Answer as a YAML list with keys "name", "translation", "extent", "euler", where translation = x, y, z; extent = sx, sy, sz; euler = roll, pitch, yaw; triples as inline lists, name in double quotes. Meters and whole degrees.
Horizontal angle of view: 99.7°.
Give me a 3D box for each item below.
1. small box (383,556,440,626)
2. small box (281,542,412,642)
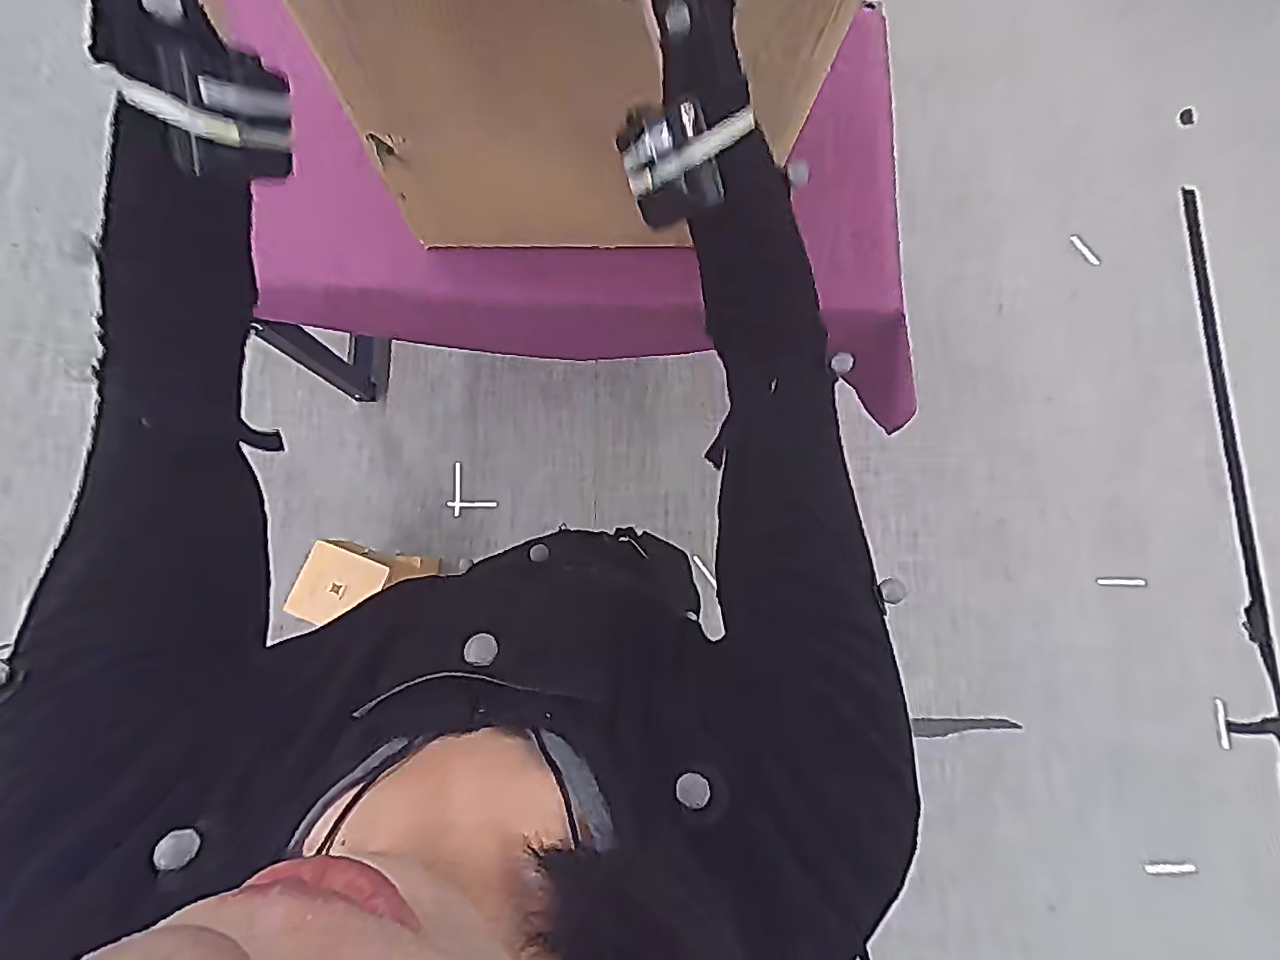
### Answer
- name: "small box"
  translation: [-0.632, 0.279, 1.384]
  extent: [0.179, 0.176, 0.168]
  euler: [3, 82, -5]
- name: "small box"
  translation: [-0.649, 0.247, 1.223]
  extent: [0.179, 0.176, 0.168]
  euler: [22, 80, 0]
